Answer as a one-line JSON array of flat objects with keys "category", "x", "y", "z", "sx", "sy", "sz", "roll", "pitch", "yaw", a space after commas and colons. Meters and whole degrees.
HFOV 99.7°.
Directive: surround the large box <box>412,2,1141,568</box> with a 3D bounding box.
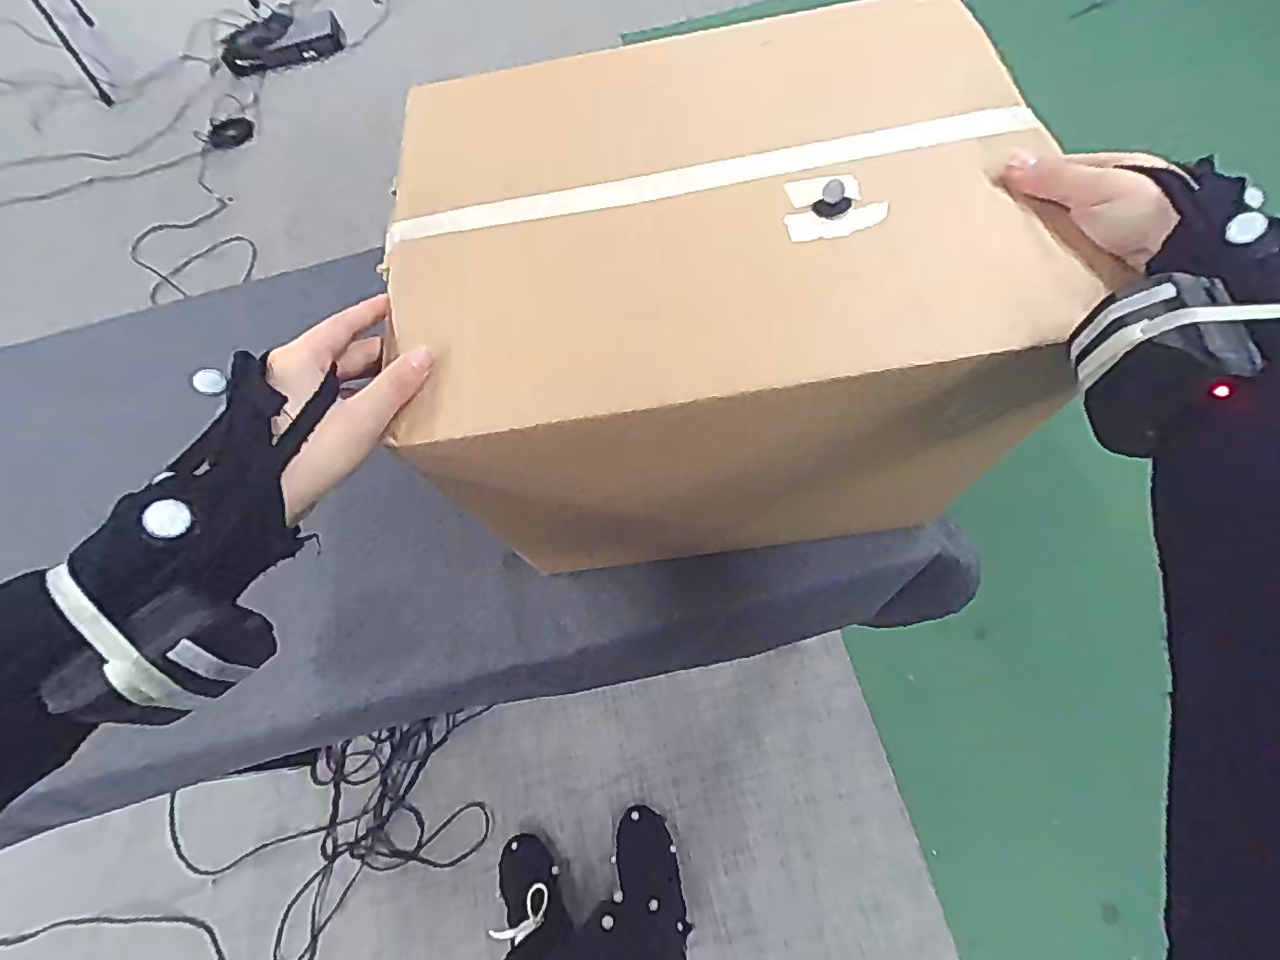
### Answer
[{"category": "large box", "x": 0.063, "y": -0.131, "z": 0.484, "sx": 0.408, "sy": 0.320, "sz": 0.320, "roll": -8, "pitch": 67, "yaw": 2}]
